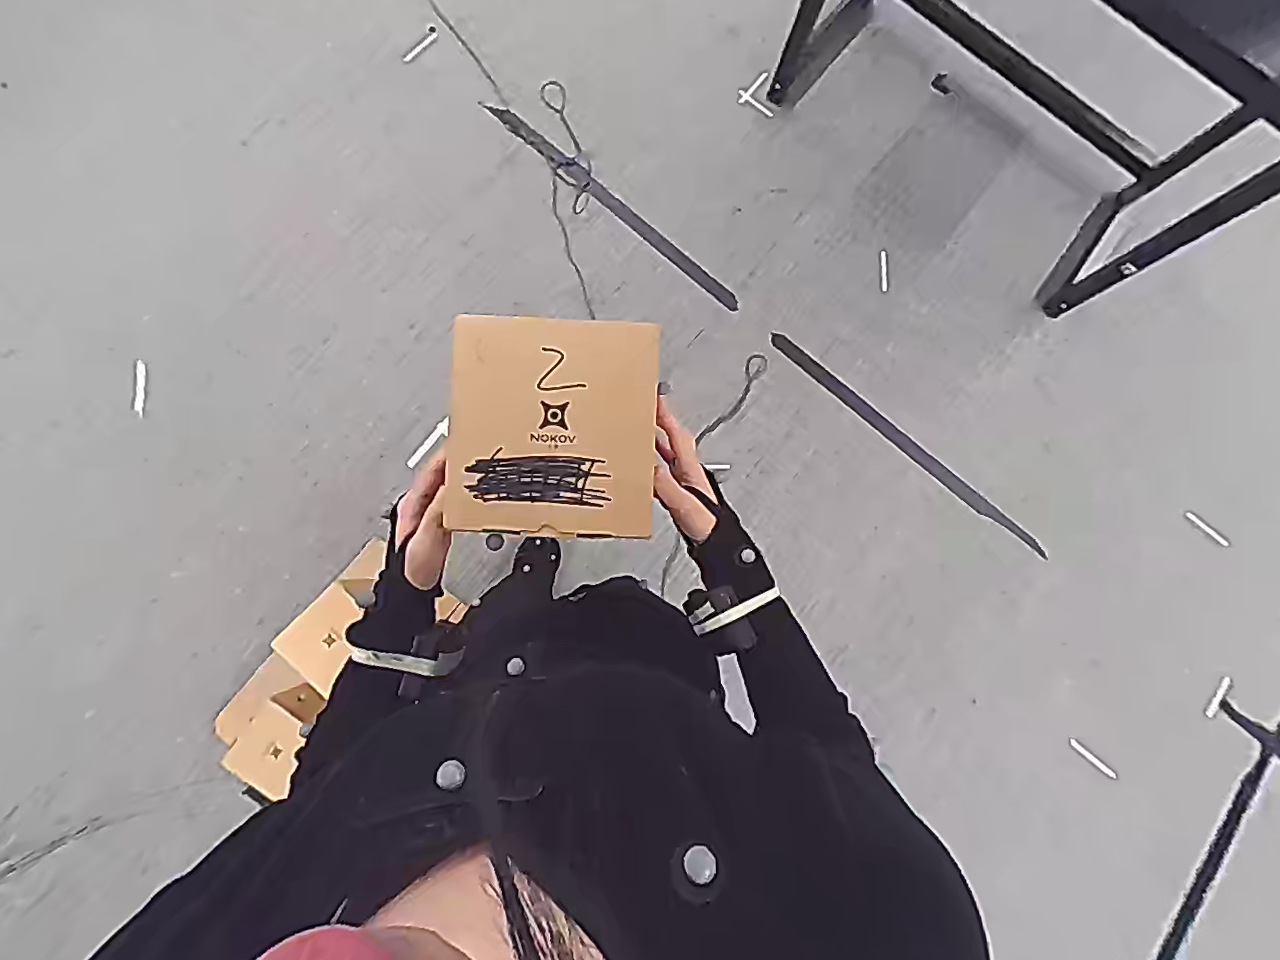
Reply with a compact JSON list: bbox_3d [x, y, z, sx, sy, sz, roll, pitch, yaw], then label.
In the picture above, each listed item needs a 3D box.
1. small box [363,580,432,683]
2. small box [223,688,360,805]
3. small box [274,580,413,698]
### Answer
[{"bbox_3d":[-0.648,0.367,1.342,0.168,0.176,0.179,39,79,1],"label":"small box"},{"bbox_3d":[-0.818,0.619,1.287,0.179,0.176,0.168,33,81,1],"label":"small box"},{"bbox_3d":[-0.634,0.339,1.182,0.168,0.176,0.179,42,79,2],"label":"small box"}]
